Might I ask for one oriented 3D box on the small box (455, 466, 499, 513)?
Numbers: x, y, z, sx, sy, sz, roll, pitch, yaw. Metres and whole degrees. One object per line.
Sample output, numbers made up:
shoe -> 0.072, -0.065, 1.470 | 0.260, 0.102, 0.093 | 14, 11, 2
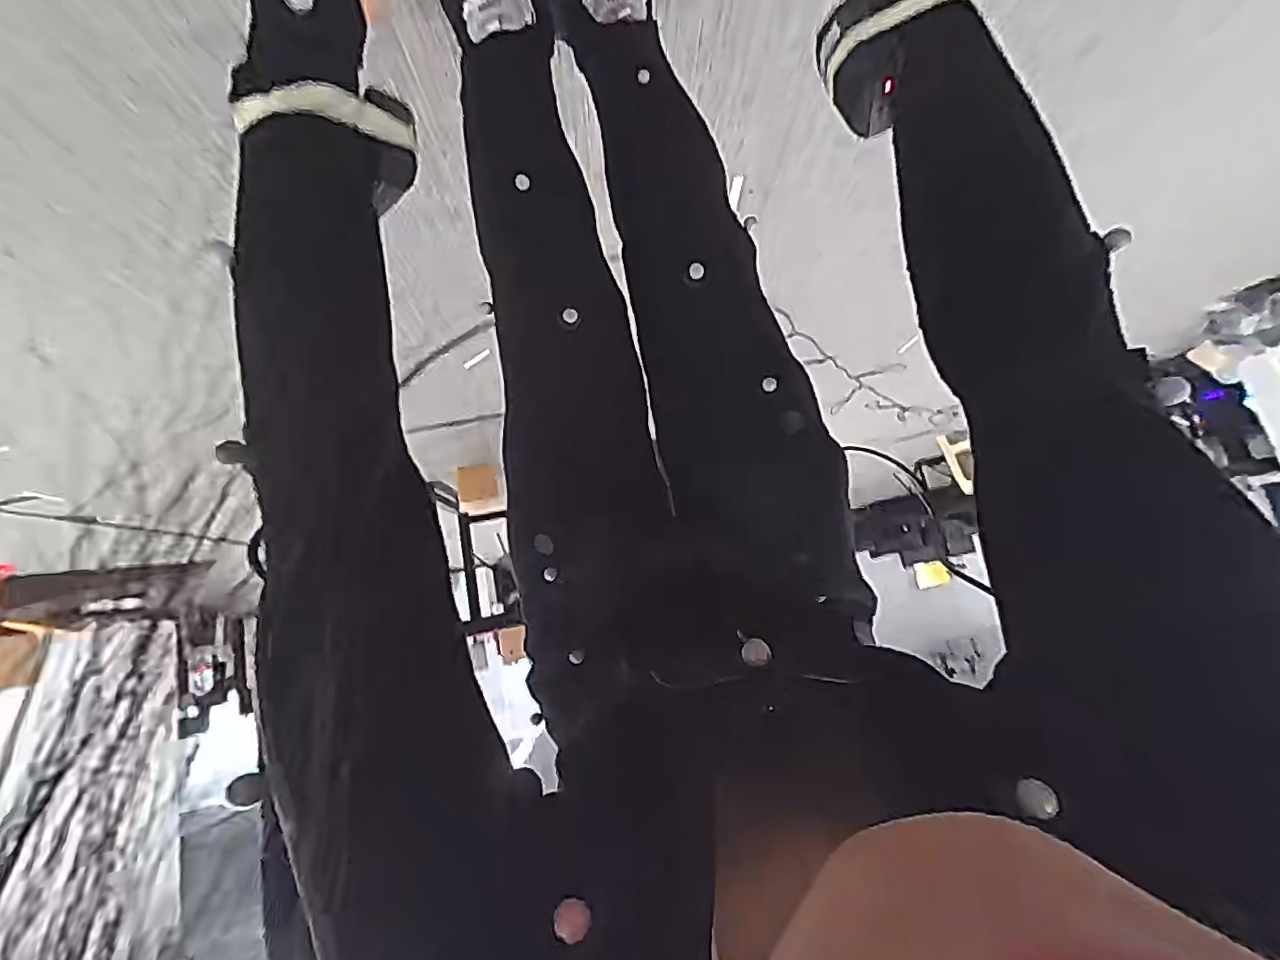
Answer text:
small box -> -0.768, 0.044, 2.535 | 0.179, 0.176, 0.168 | -8, 166, -21

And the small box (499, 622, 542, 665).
small box -> -0.581, 0.790, 2.627 | 0.179, 0.176, 0.168 | -11, 168, -6
